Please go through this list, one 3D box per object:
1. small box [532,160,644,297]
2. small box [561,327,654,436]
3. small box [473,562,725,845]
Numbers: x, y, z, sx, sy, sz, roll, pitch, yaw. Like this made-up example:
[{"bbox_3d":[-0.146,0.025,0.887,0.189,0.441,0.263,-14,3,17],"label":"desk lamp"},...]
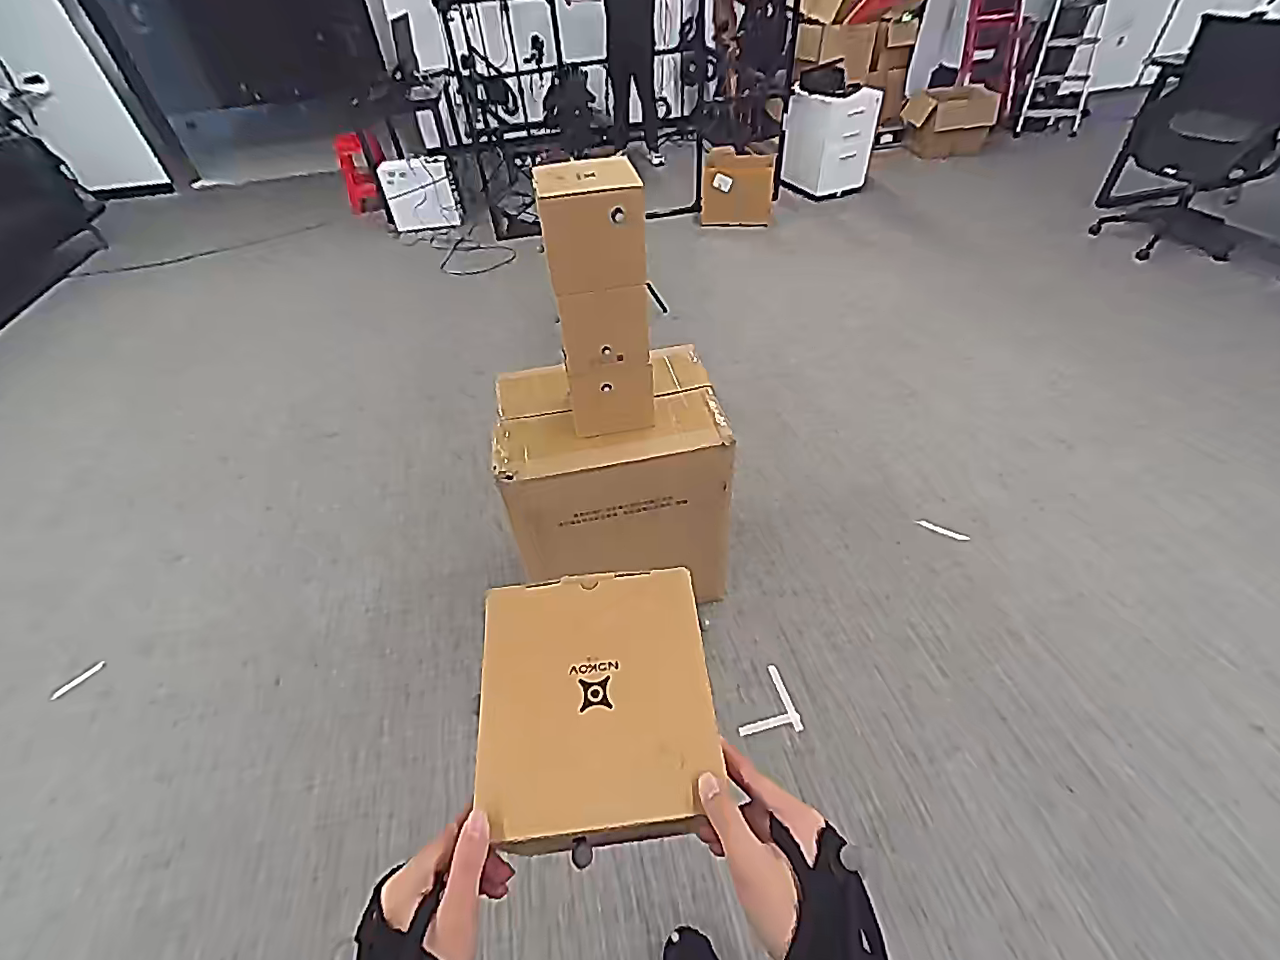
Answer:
[{"bbox_3d":[-0.090,-0.453,0.977,0.179,0.176,0.168,-10,45,-5],"label":"small box"},{"bbox_3d":[-0.071,-0.215,1.205,0.179,0.176,0.168,-10,45,-6],"label":"small box"},{"bbox_3d":[-0.030,0.192,0.453,0.168,0.176,0.179,-6,52,-3],"label":"small box"}]
